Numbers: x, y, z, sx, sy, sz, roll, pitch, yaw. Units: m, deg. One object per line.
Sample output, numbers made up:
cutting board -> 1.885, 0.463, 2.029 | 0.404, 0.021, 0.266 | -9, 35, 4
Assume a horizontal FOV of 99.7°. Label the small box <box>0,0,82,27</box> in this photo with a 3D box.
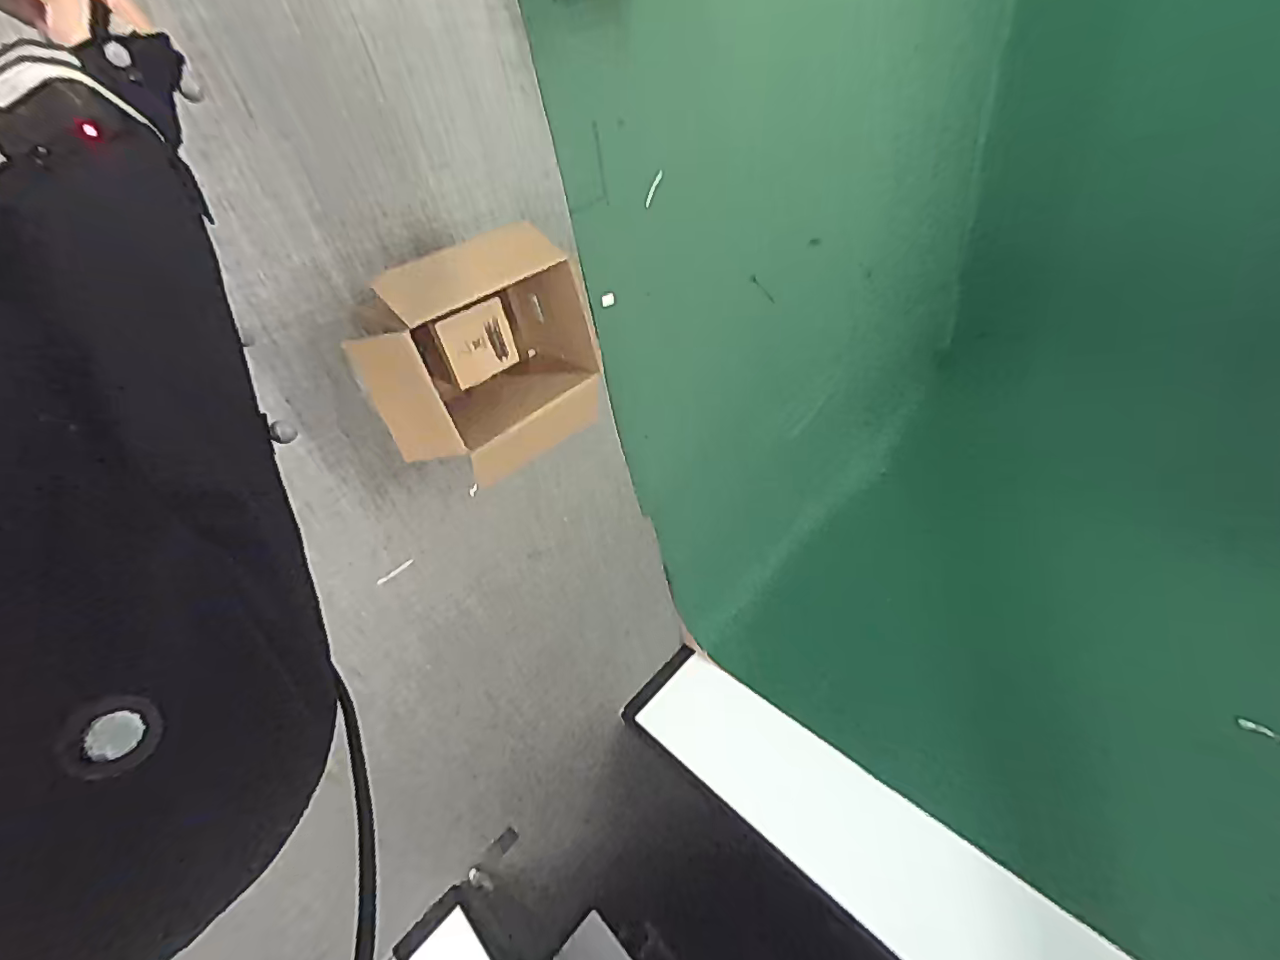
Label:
small box -> -0.485, -0.452, 0.361 | 0.179, 0.176, 0.168 | 14, 102, -50
